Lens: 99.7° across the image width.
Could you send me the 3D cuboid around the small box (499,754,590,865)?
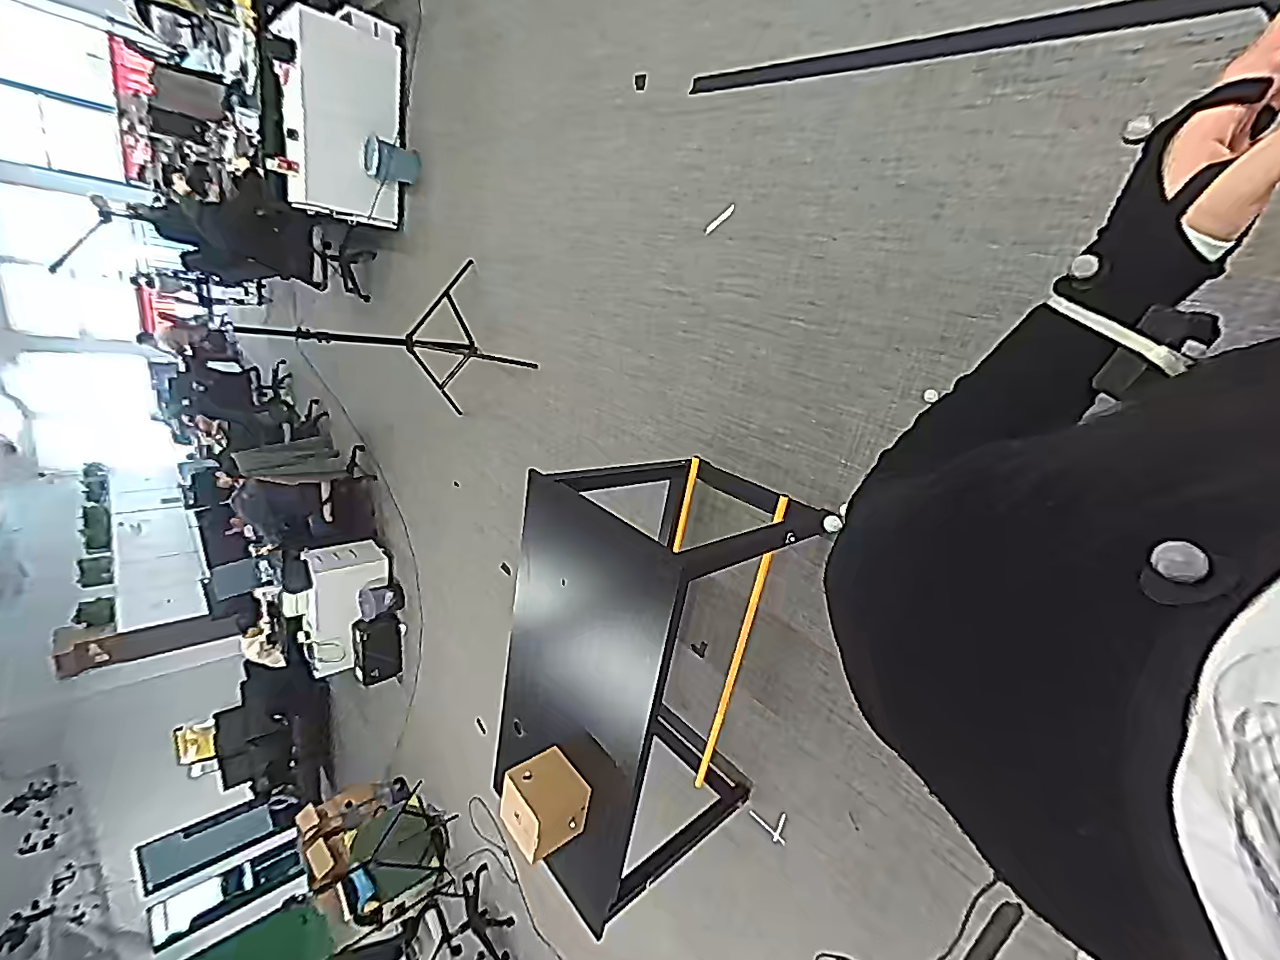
[{"bbox_3d":[-0.263,0.889,1.486,0.179,0.176,0.168,30,117,41],"label":"small box"}]
